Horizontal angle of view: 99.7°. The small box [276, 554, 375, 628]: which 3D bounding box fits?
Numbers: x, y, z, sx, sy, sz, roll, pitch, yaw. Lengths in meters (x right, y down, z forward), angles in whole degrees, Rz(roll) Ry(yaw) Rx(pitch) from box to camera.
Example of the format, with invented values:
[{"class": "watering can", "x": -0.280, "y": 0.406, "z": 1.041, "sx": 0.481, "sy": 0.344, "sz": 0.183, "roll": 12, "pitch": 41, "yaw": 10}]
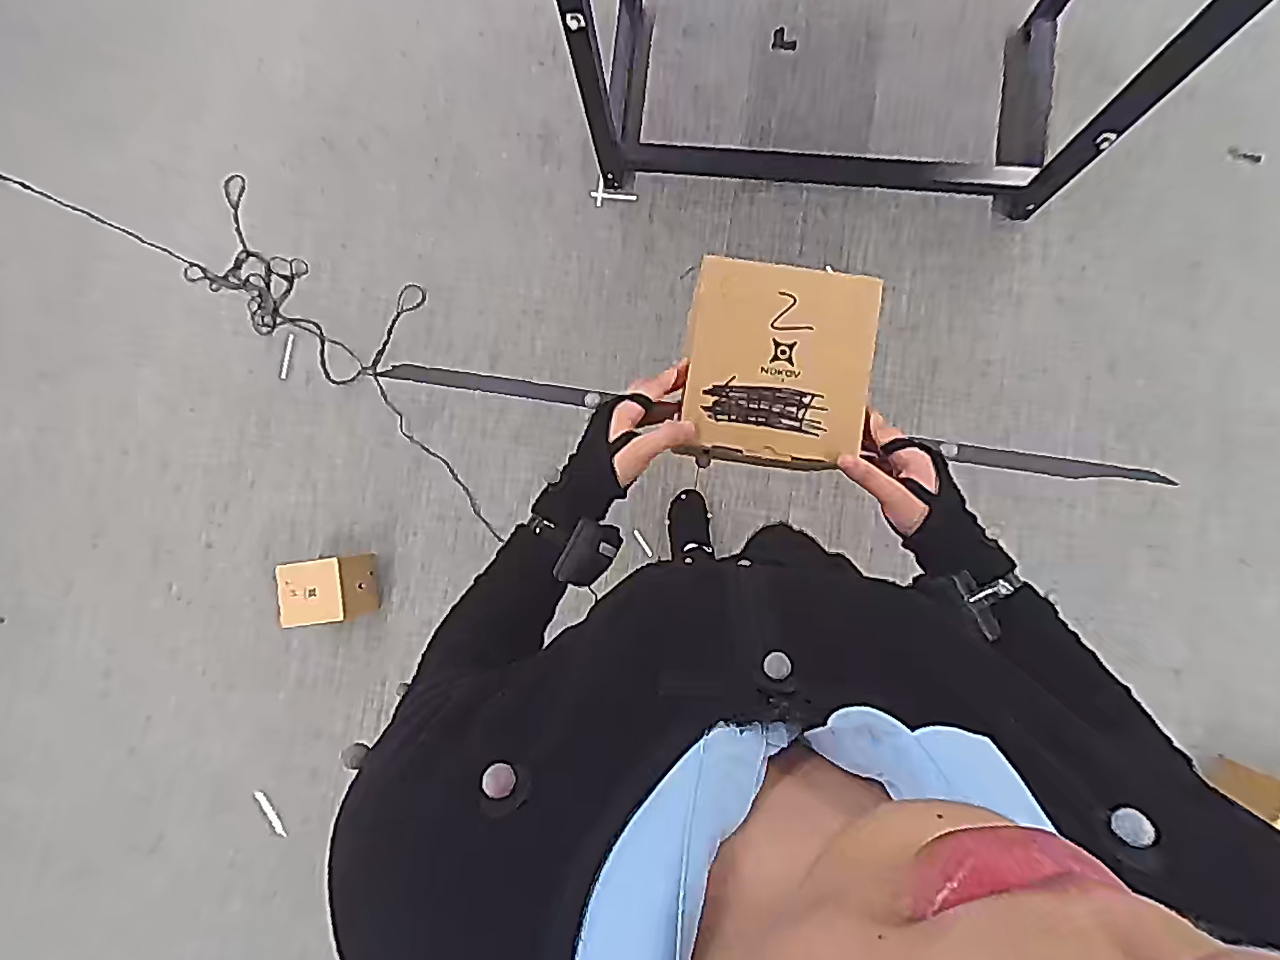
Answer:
[{"class": "small box", "x": -0.849, "y": 0.297, "z": 1.480, "sx": 0.179, "sy": 0.176, "sz": 0.168, "roll": -8, "pitch": 86, "yaw": 4}]
